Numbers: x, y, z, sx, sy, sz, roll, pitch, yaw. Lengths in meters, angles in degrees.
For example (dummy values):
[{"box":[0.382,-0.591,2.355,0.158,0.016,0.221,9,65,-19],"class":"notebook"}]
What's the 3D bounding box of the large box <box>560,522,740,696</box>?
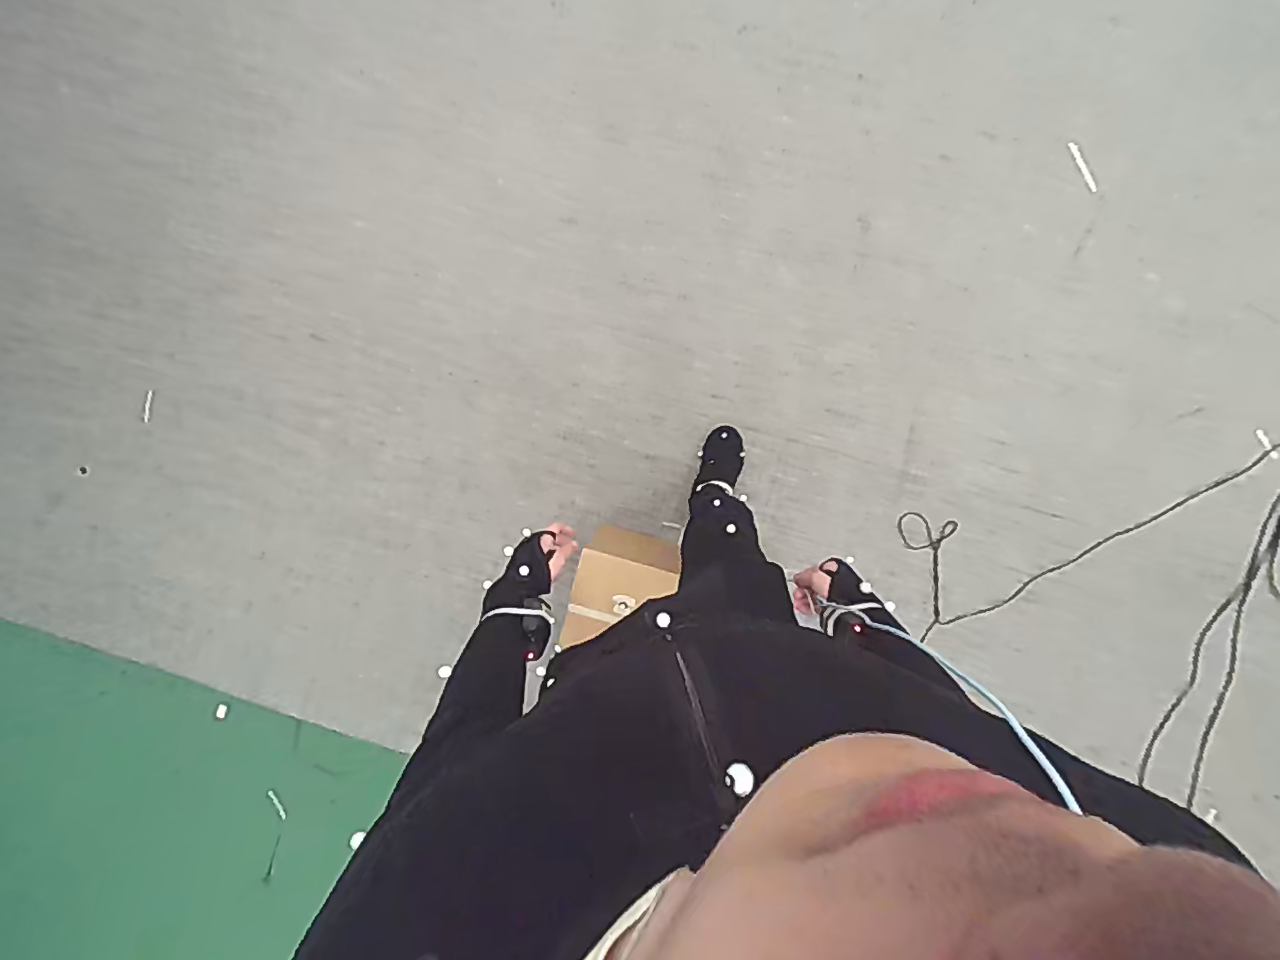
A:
[{"box":[0.038,0.335,1.497,0.408,0.320,0.320,15,97,4],"class":"large box"}]
